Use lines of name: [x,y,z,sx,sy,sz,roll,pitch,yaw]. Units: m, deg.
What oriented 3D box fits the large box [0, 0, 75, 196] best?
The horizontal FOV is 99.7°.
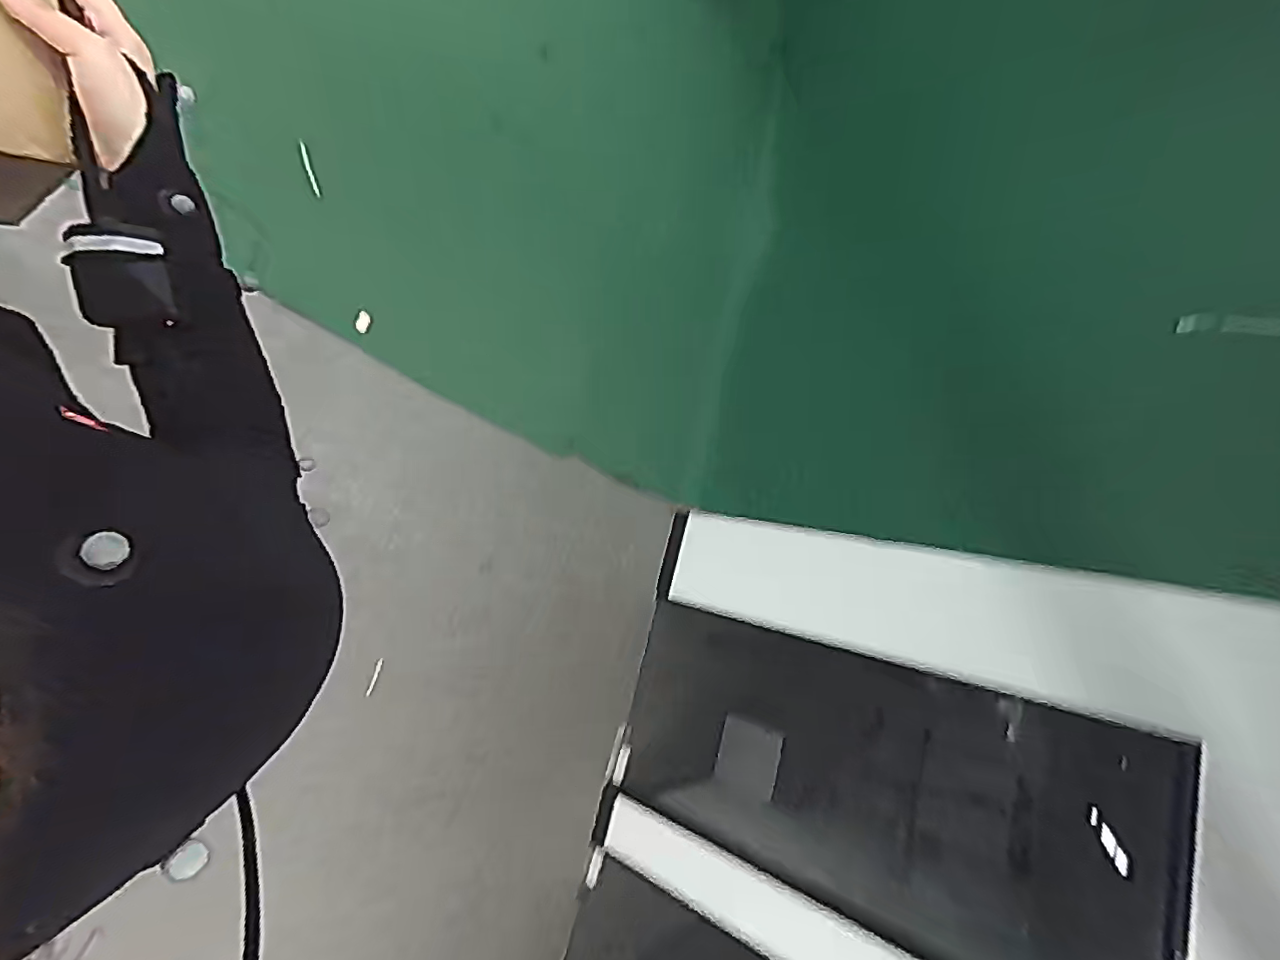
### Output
large box: [-0.617,-0.359,0.254,0.408,0.320,0.320,-18,114,-53]
